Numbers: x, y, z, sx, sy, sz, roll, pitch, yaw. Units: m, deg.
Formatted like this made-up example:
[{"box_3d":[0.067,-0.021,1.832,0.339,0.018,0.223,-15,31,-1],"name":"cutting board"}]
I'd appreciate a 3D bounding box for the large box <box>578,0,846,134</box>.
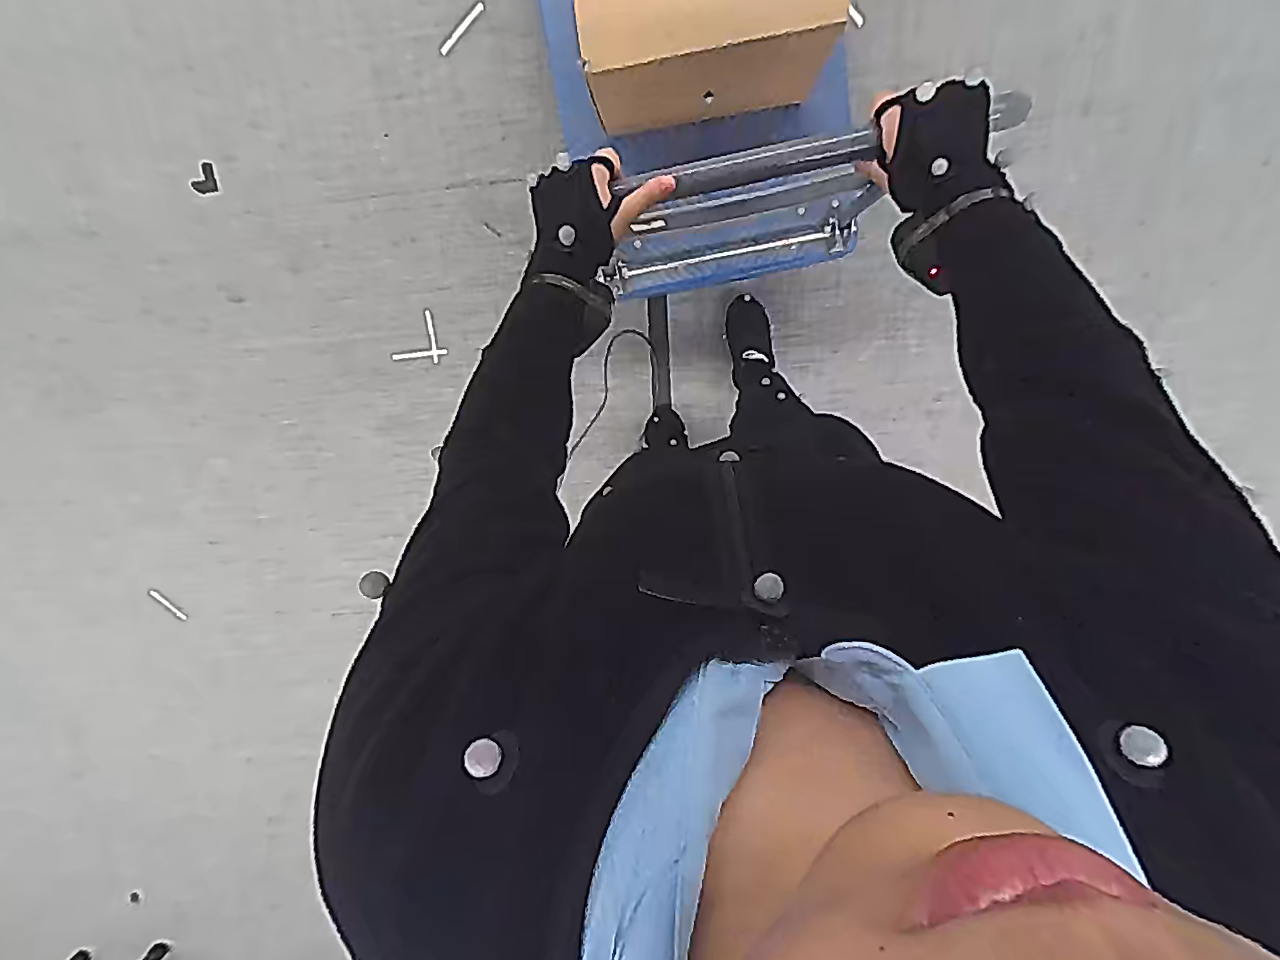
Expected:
[{"box_3d":[0.103,-0.854,0.935,0.408,0.320,0.320,-7,105,6],"name":"large box"}]
